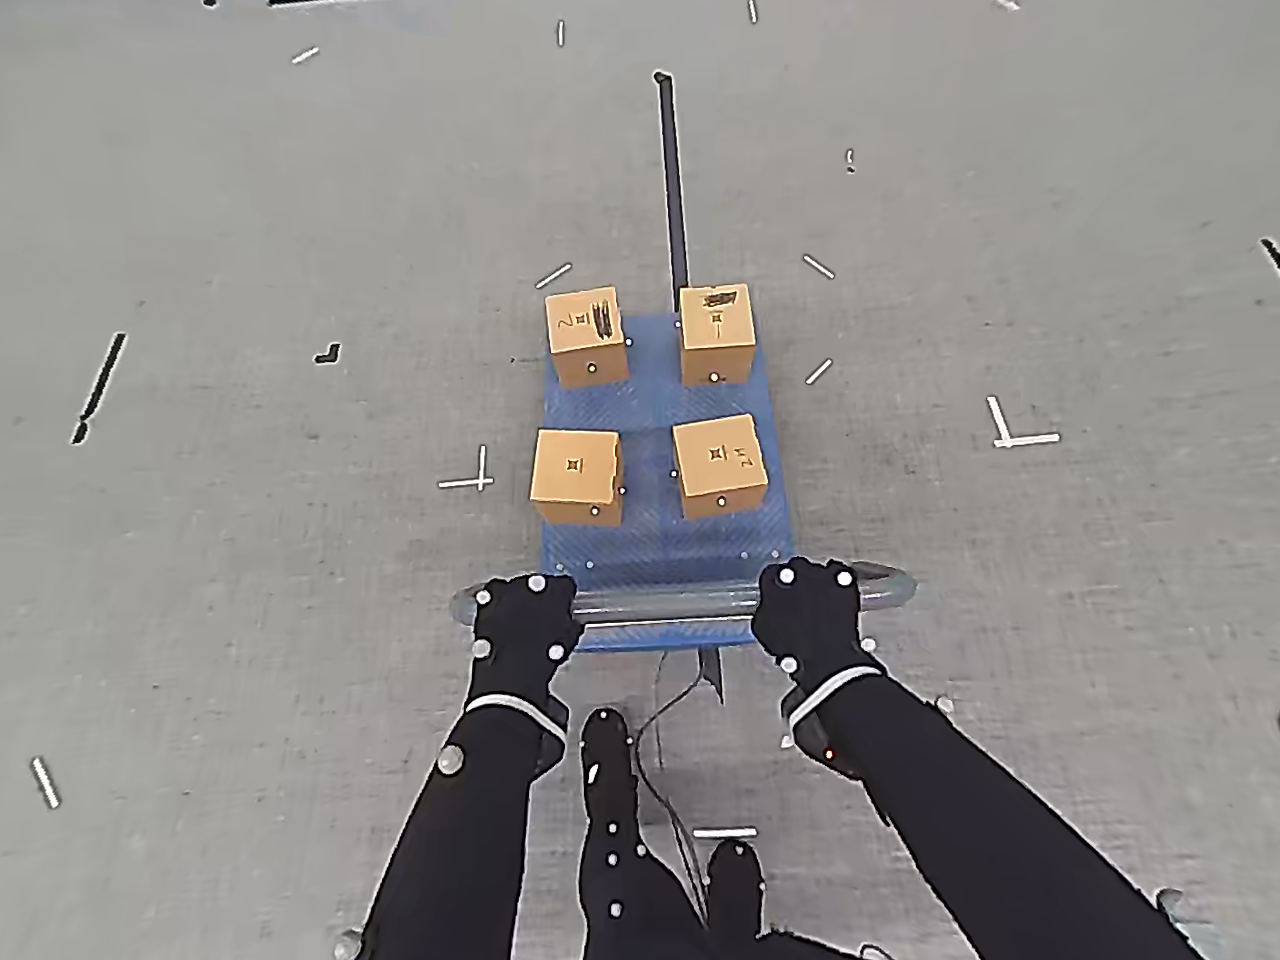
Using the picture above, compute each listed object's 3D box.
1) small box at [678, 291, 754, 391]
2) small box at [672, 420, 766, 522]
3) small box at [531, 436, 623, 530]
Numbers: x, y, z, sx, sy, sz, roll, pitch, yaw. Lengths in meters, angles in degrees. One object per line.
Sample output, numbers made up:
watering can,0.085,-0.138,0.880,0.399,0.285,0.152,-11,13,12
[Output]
small box,0.183,-0.343,1.349,0.168,0.176,0.179,-4,69,2
small box,0.171,-0.013,1.218,0.179,0.176,0.168,-9,68,0
small box,-0.135,0.012,1.229,0.179,0.176,0.168,2,68,3
